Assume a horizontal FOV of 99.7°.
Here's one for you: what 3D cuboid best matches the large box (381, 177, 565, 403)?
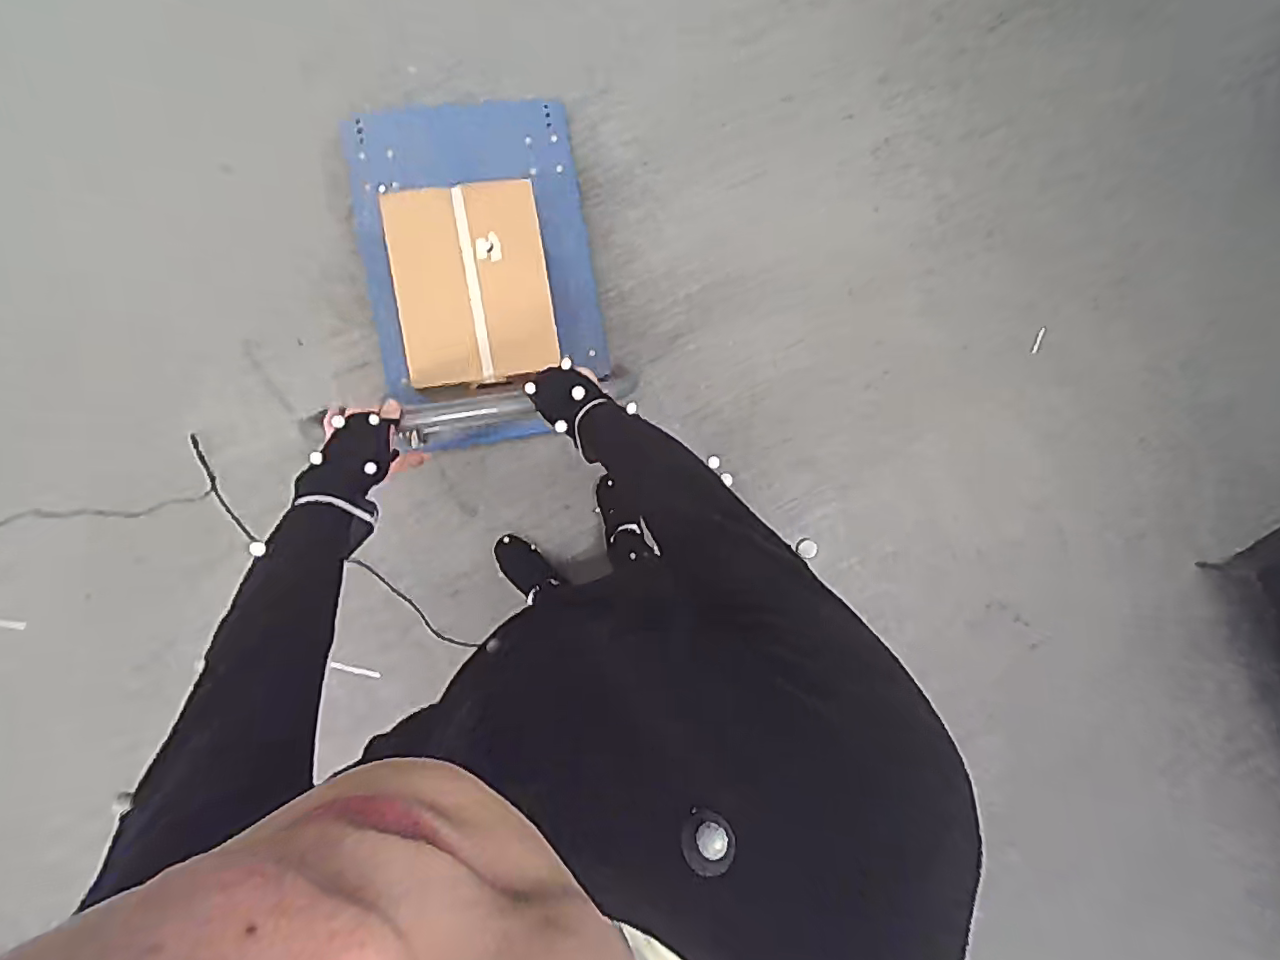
[{"bbox_3d":[-0.366,-0.422,1.280,0.320,0.320,0.408,-10,91,-8],"label":"large box"}]
